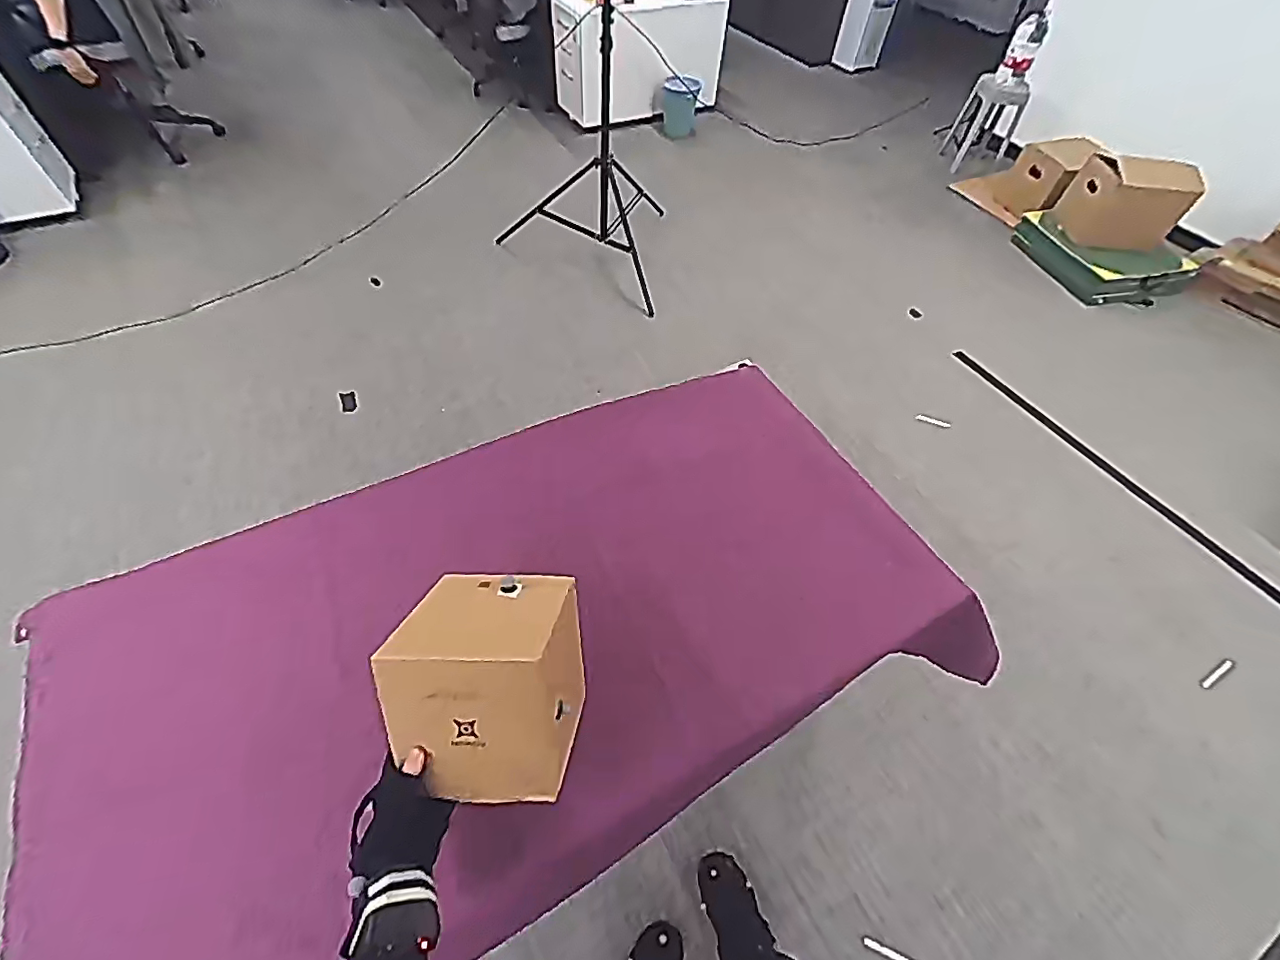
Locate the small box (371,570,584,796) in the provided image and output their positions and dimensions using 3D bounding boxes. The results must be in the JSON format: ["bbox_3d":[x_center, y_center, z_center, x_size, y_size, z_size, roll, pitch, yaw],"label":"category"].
[{"bbox_3d":[-0.164,0.219,0.610,0.168,0.179,0.176,-4,17,6],"label":"small box"}]
